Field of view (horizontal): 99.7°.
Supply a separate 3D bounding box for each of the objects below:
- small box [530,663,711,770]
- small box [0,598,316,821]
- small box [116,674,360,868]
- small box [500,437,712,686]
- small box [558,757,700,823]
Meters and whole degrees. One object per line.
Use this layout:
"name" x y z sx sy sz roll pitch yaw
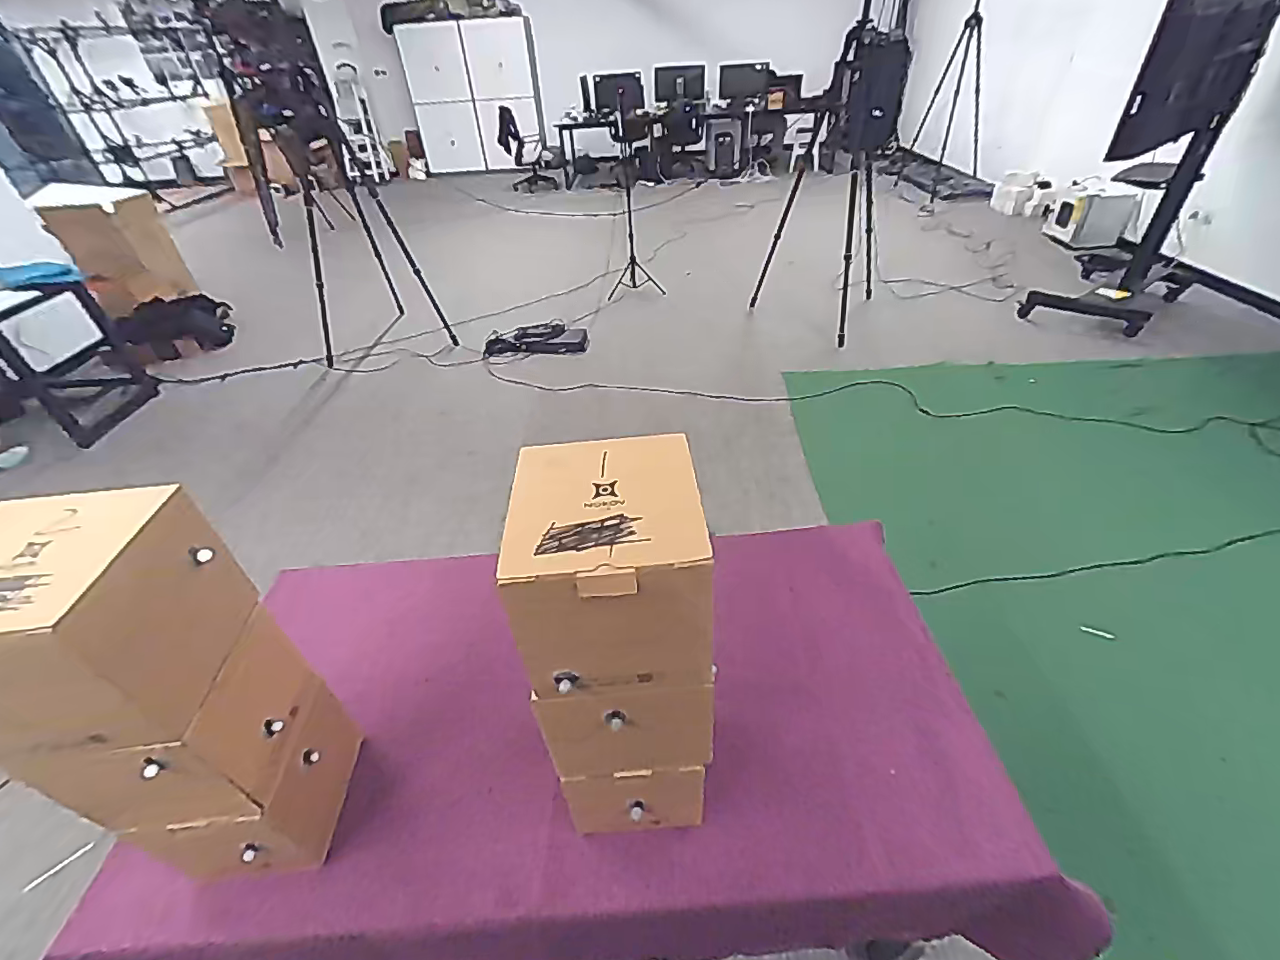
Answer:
"small box" -0.016 0.211 0.619 0.179 0.176 0.168 -4 39 0
"small box" -0.510 0.257 0.607 0.179 0.176 0.168 -5 39 -4
"small box" -0.498 0.384 0.709 0.168 0.176 0.179 -4 38 -2
"small box" -0.024 0.080 0.519 0.168 0.176 0.179 -5 38 -1
"small box" -0.010 0.338 0.725 0.168 0.176 0.179 -4 40 0
